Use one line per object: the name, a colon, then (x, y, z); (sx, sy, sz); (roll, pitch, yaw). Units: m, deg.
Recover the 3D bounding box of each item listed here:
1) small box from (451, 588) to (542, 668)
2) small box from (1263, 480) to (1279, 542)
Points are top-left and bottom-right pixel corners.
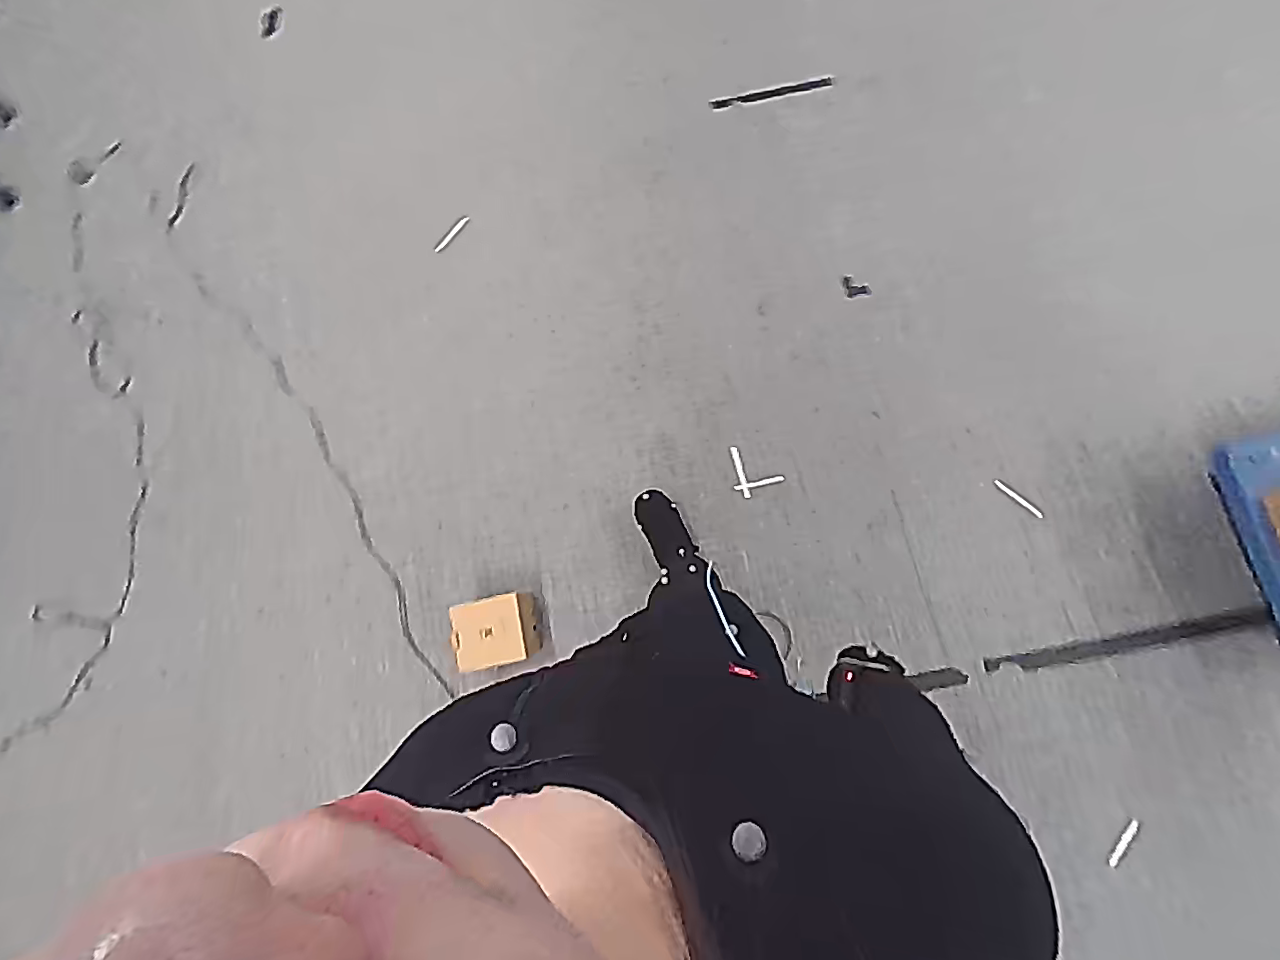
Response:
small box: (-0.373, 0.385, 1.424); (0.179, 0.176, 0.168); (-12, 80, 1)
small box: (1.534, 0.060, 1.173); (0.179, 0.176, 0.168); (-14, 80, 0)
